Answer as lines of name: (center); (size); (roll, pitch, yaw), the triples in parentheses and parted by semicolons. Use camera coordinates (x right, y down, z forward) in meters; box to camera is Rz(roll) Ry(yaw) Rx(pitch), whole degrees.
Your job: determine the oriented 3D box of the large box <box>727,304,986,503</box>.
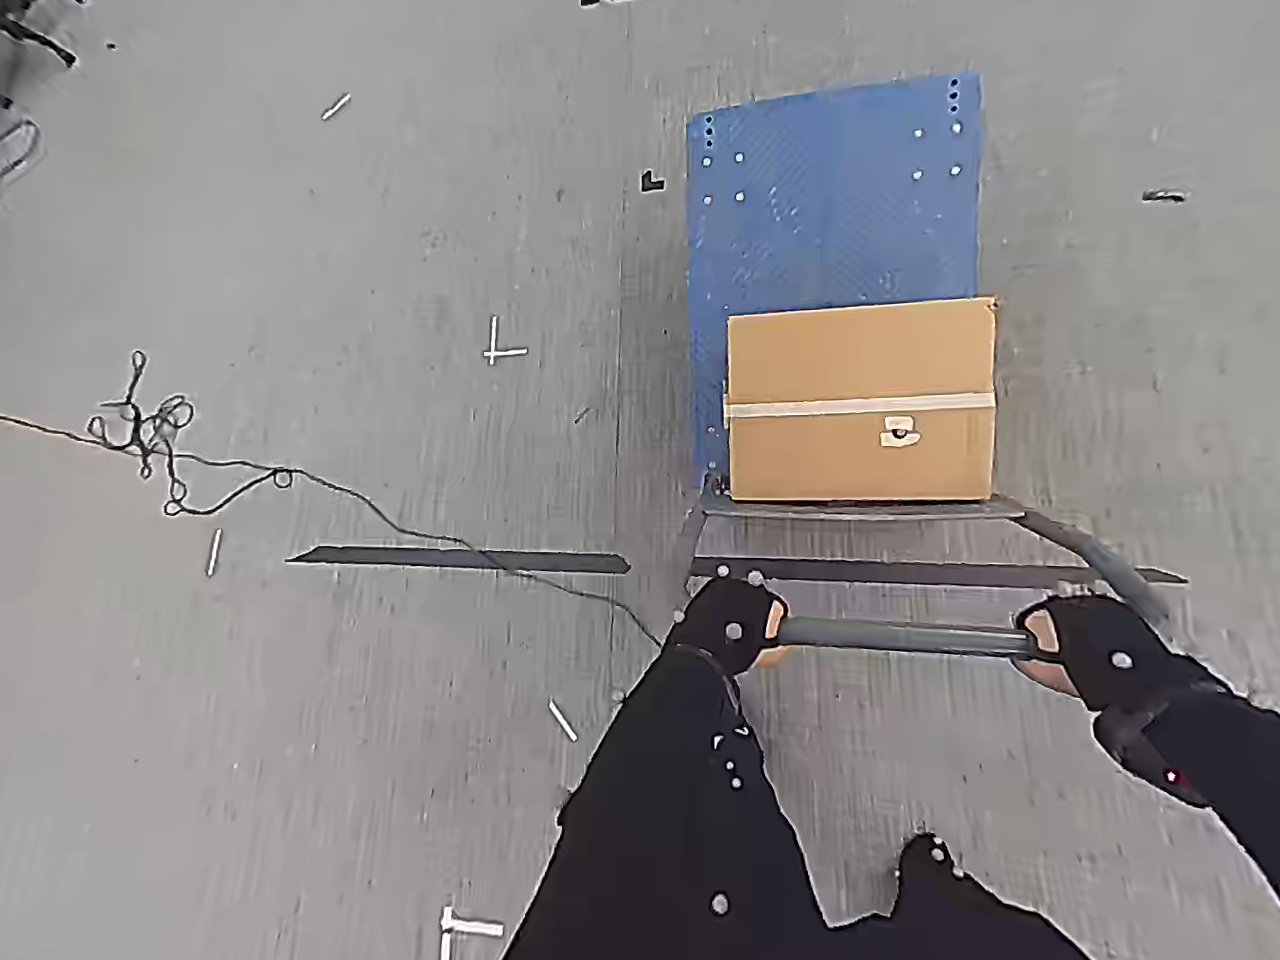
large box: (0.379, -0.131, 1.039); (0.408, 0.320, 0.320); (-1, 96, 12)
